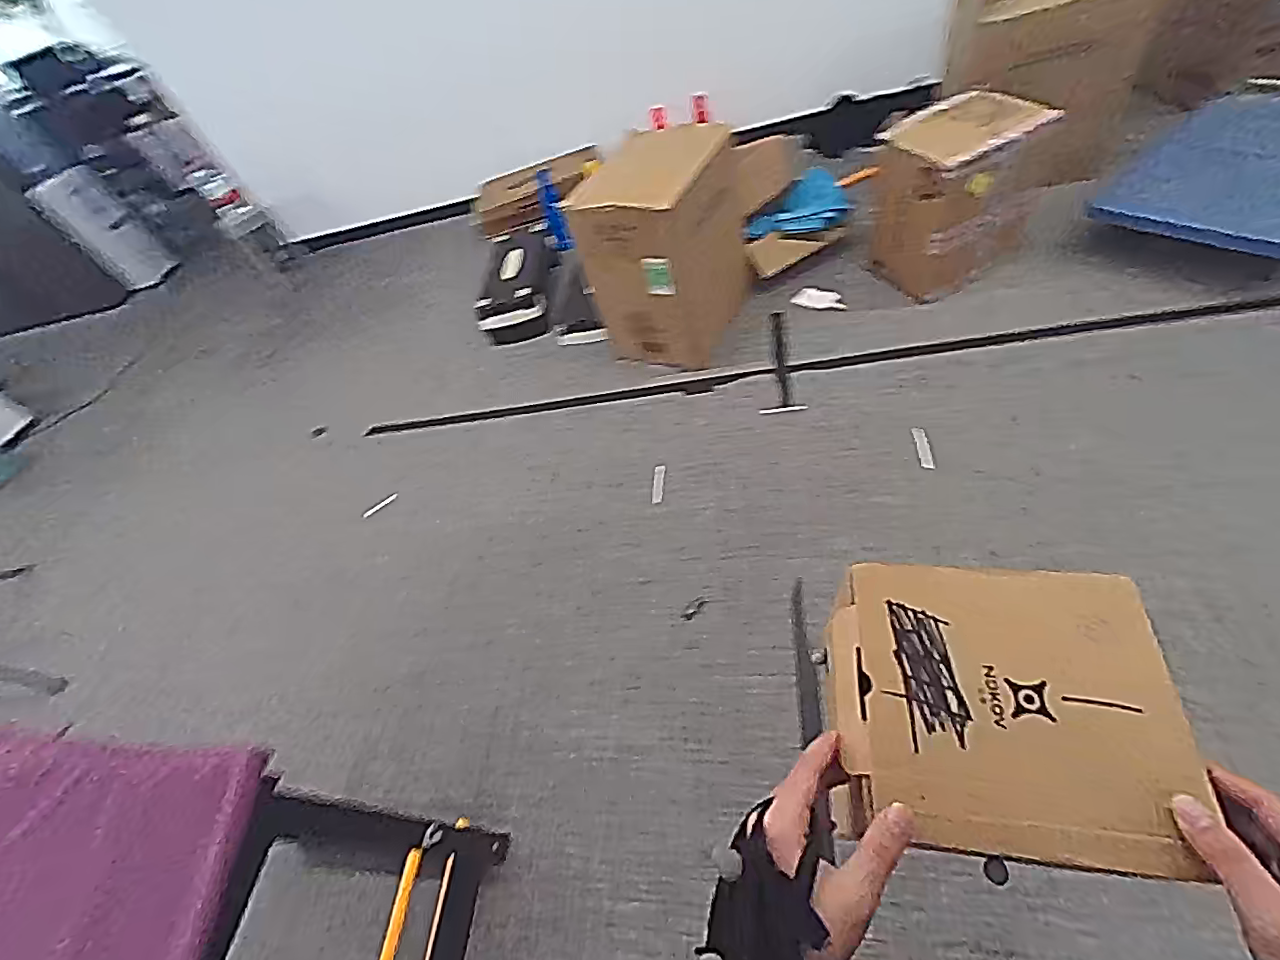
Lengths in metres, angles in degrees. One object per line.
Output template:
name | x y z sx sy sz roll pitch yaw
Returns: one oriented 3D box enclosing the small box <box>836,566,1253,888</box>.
small box | 0.243 0.175 0.391 0.179 0.176 0.168 2 58 12
